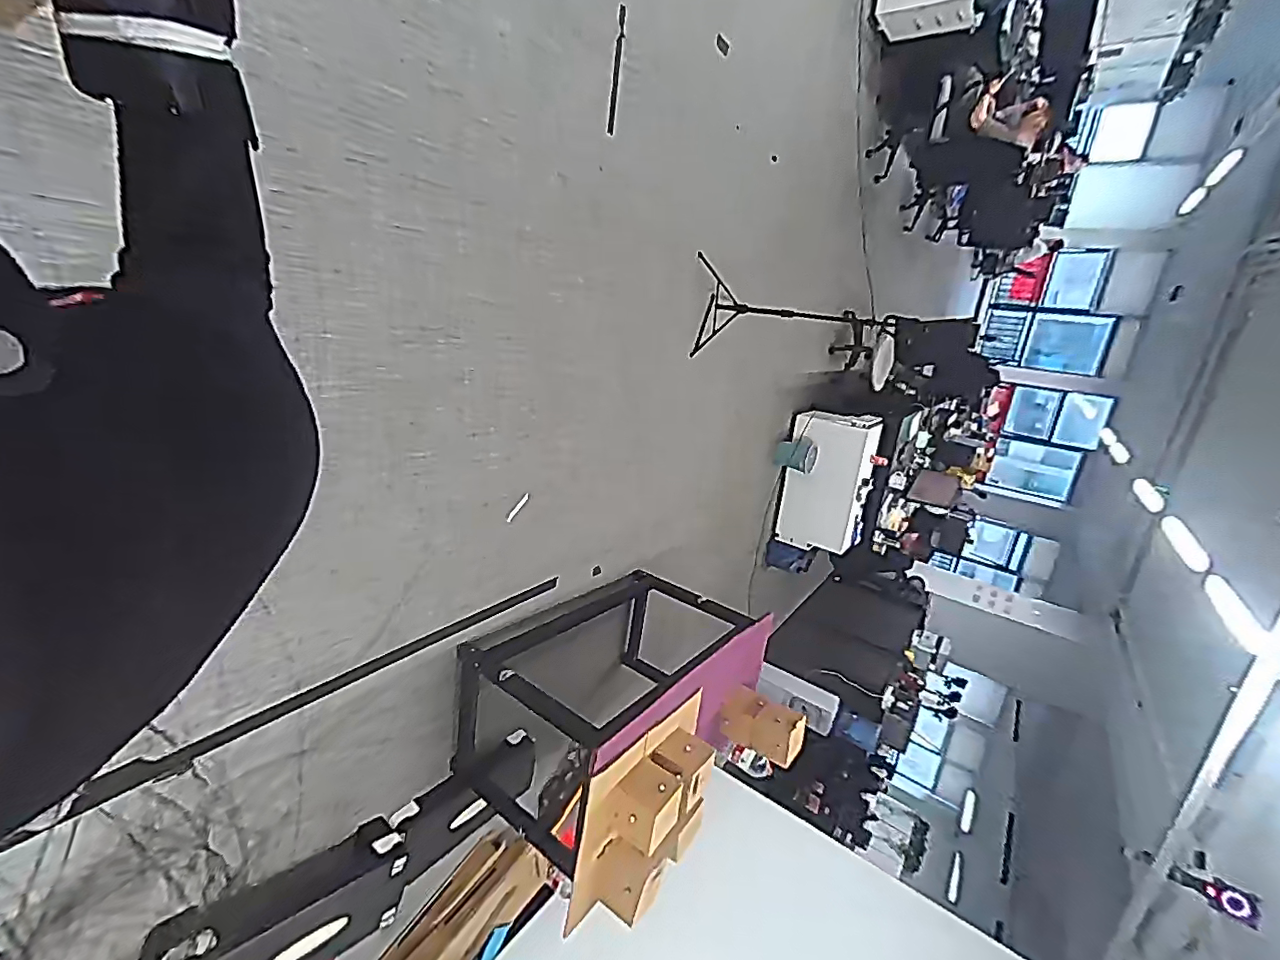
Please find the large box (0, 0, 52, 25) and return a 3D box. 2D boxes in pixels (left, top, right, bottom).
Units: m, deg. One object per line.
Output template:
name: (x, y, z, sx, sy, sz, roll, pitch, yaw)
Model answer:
large box: (-0.494, -0.440, 0.172, 0.408, 0.320, 0.320, -15, 122, -54)
